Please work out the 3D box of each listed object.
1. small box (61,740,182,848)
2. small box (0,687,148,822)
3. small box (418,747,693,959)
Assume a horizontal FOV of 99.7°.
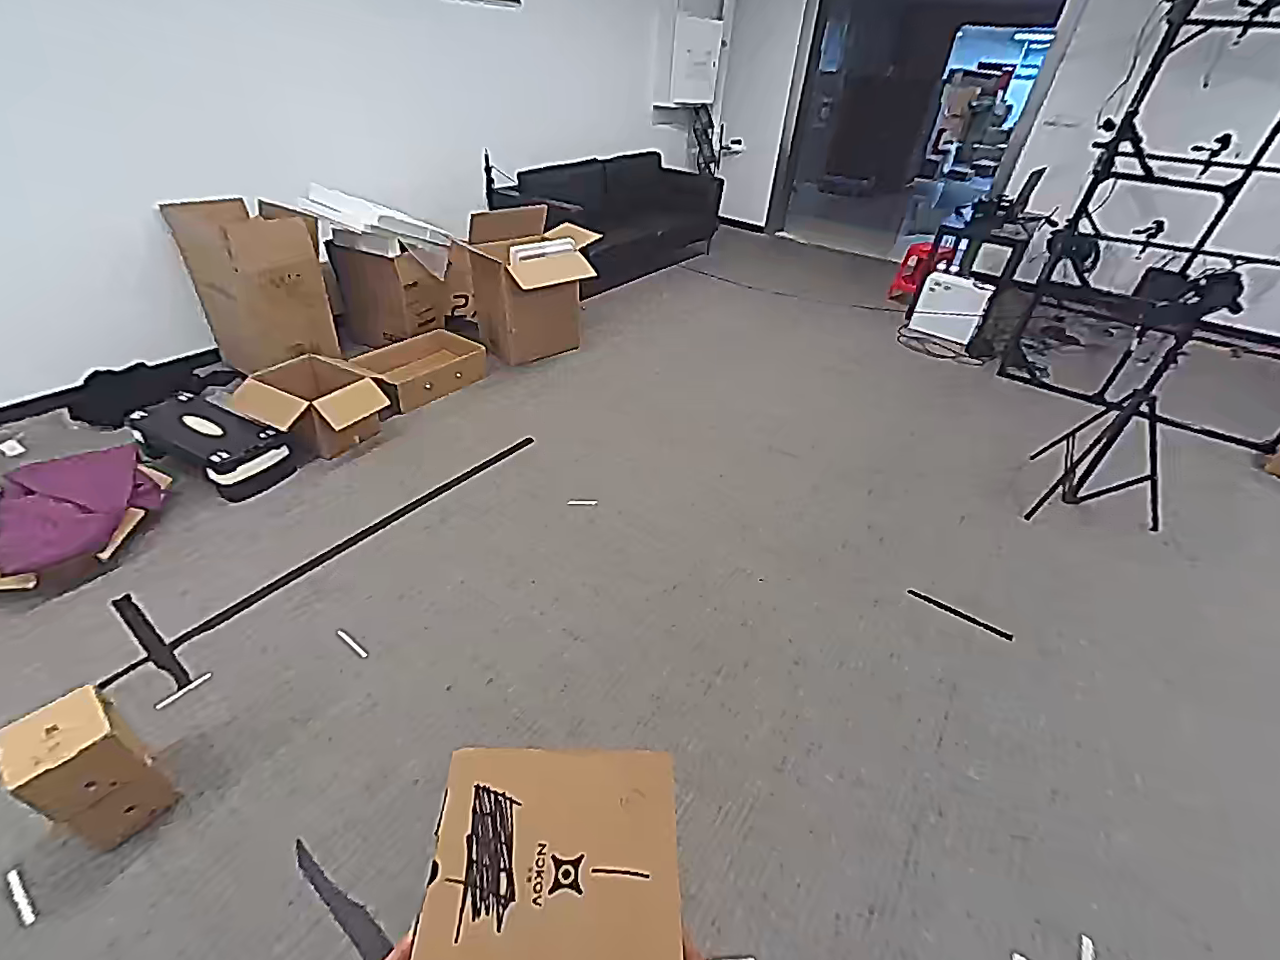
[{"bbox_3d":[-1.254,0.739,1.293,0.179,0.176,0.168,26,43,24],"label":"small box"},{"bbox_3d":[-1.245,0.607,1.194,0.179,0.176,0.168,30,45,29],"label":"small box"},{"bbox_3d":[-0.059,0.330,0.429,0.179,0.176,0.168,2,43,-4],"label":"small box"}]
